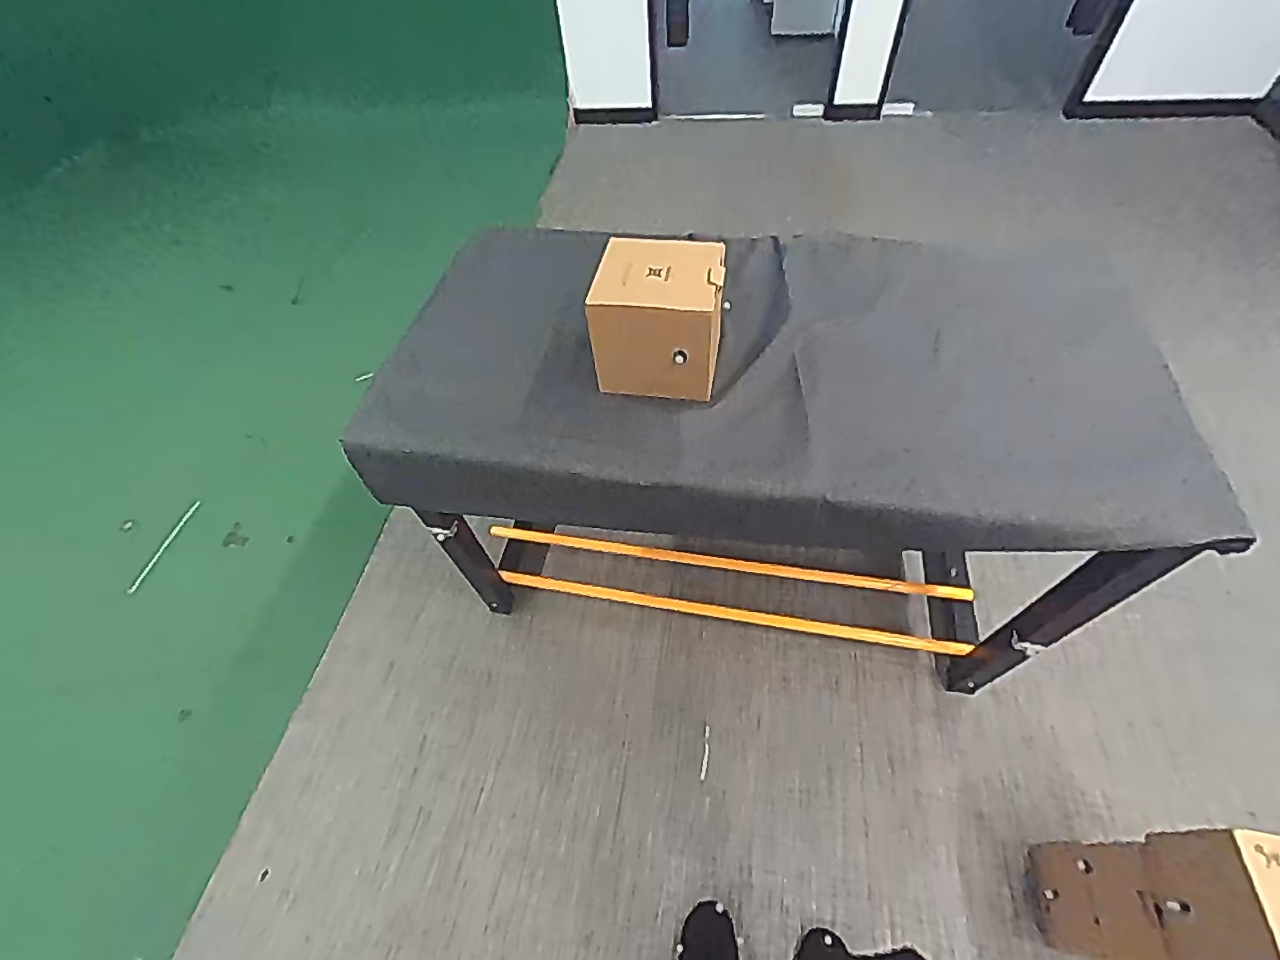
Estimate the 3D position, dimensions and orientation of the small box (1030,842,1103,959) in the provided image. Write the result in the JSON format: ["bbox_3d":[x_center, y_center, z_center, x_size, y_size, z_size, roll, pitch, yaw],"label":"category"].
[{"bbox_3d":[0.831,0.748,0.942,0.179,0.176,0.168,7,54,10],"label":"small box"}]

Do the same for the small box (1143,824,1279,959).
[{"bbox_3d":[0.800,0.554,0.679,0.168,0.176,0.179,6,56,9],"label":"small box"}]

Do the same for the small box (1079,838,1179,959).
[{"bbox_3d":[0.807,0.654,0.809,0.179,0.176,0.168,5,55,8],"label":"small box"}]

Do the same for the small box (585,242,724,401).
[{"bbox_3d":[0.029,-0.238,0.826,0.179,0.176,0.168,6,53,10],"label":"small box"}]
